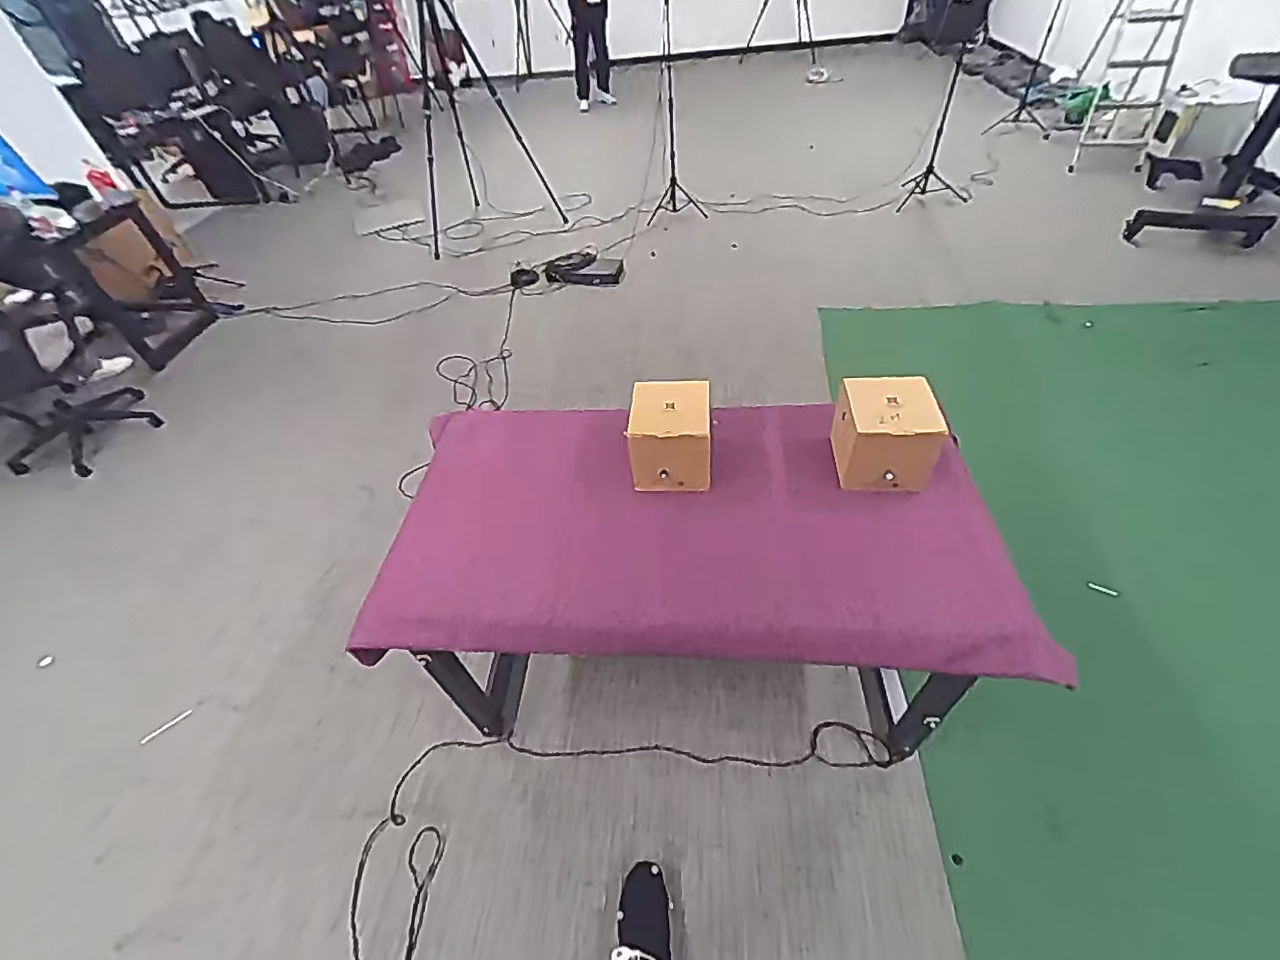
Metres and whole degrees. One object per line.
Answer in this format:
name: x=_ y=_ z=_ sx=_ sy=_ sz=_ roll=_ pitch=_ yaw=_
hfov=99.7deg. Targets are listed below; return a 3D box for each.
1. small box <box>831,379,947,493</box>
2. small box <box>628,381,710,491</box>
small box: x=0.505 y=-0.093 z=1.128 sx=0.168 sy=0.176 sz=0.179 roll=1 pitch=48 yaw=8
small box: x=0.068 y=-0.096 z=1.180 sx=0.168 sy=0.176 sz=0.179 roll=1 pitch=48 yaw=6
